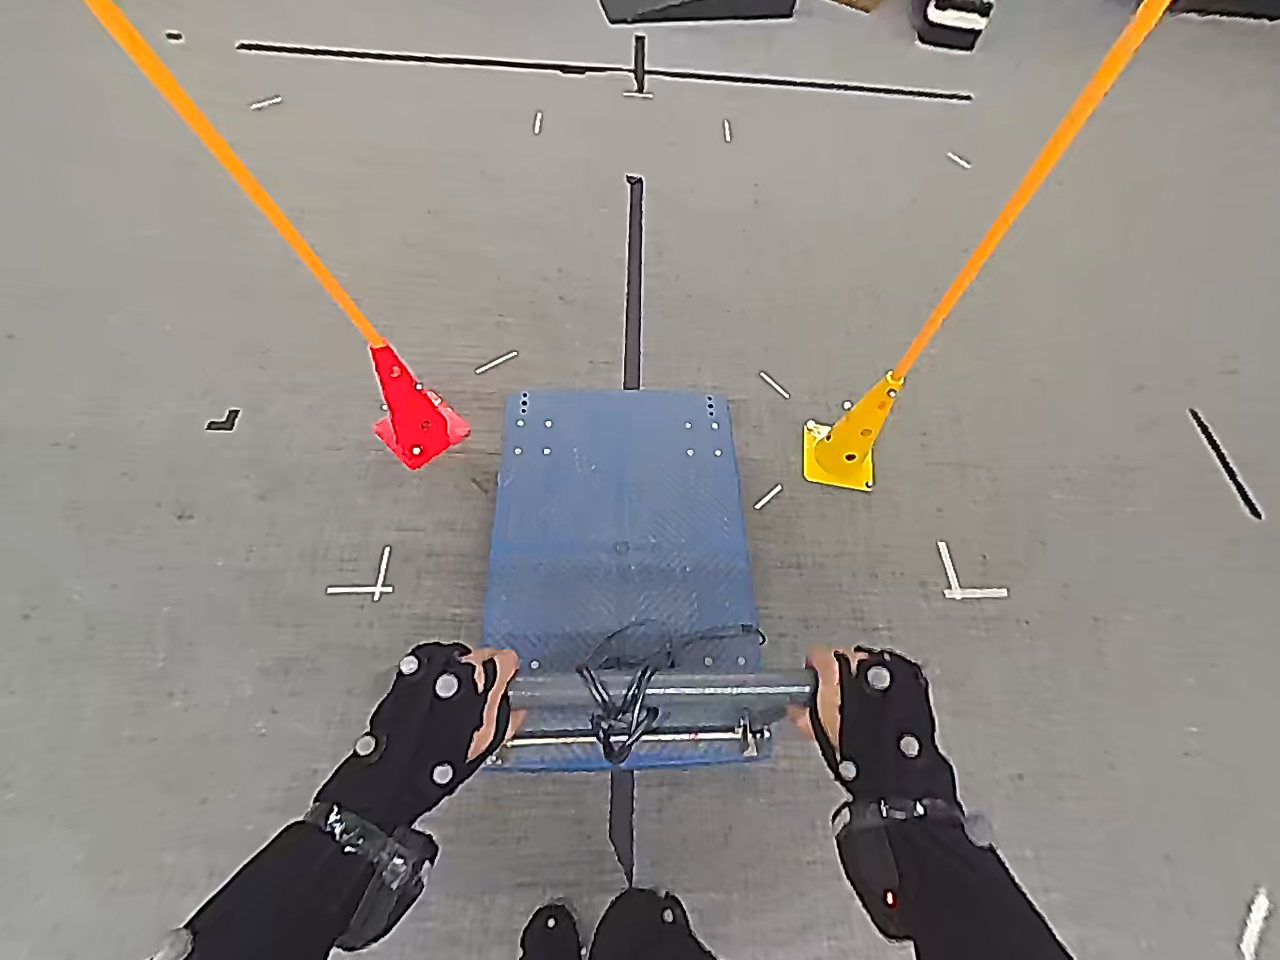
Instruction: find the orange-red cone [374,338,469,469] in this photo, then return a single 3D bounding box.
[{"bbox_3d":[-0.592,-0.222,1.359,0.199,0.360,0.198,-40,72,-23],"label":"orange-red cone"}]
